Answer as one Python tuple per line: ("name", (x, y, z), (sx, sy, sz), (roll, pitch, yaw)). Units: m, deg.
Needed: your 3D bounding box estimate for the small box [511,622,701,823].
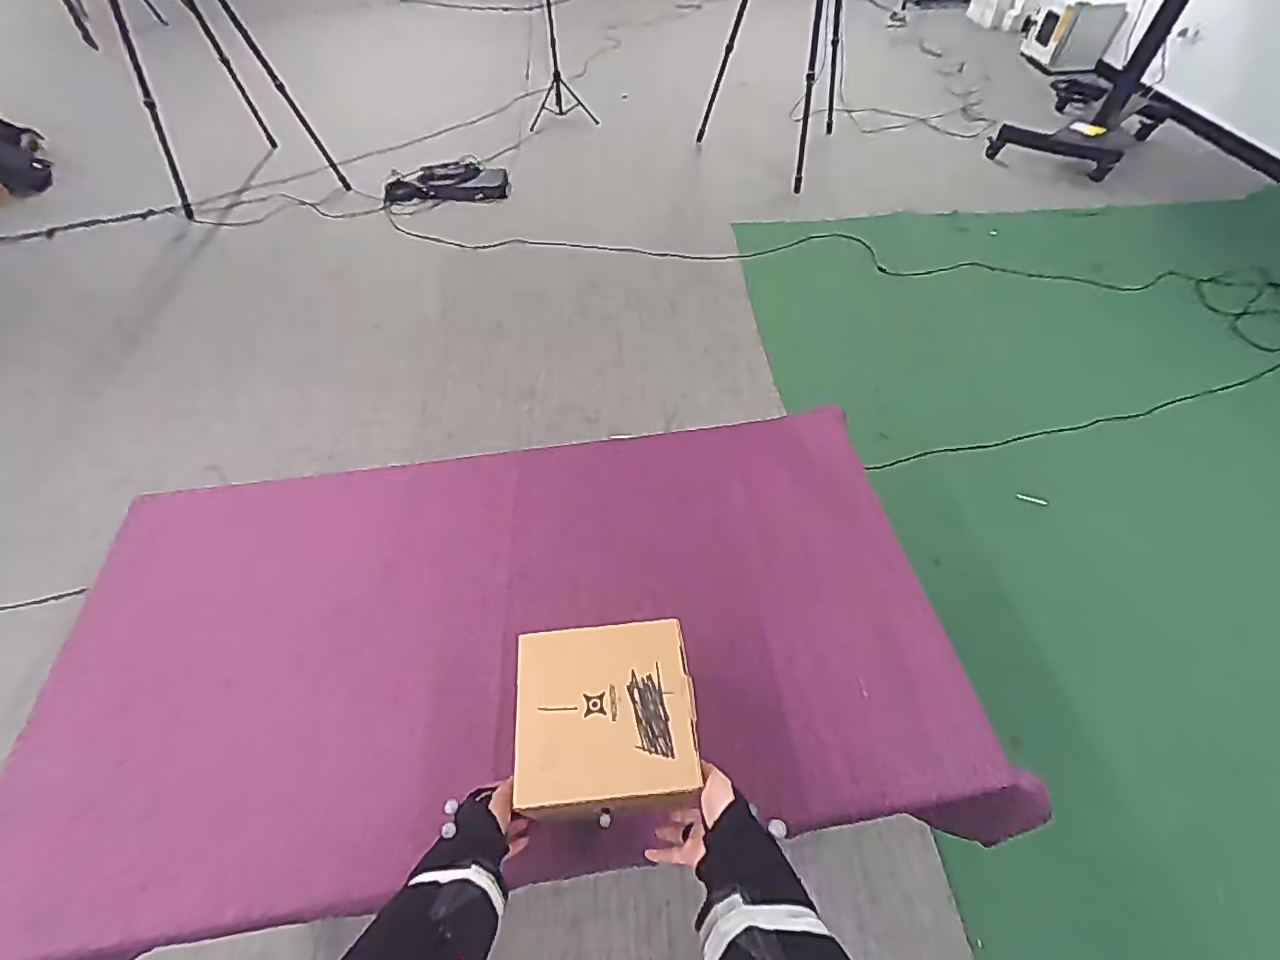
("small box", (-0.035, 0.273, 0.600), (0.179, 0.176, 0.168), (-6, 53, -1))
